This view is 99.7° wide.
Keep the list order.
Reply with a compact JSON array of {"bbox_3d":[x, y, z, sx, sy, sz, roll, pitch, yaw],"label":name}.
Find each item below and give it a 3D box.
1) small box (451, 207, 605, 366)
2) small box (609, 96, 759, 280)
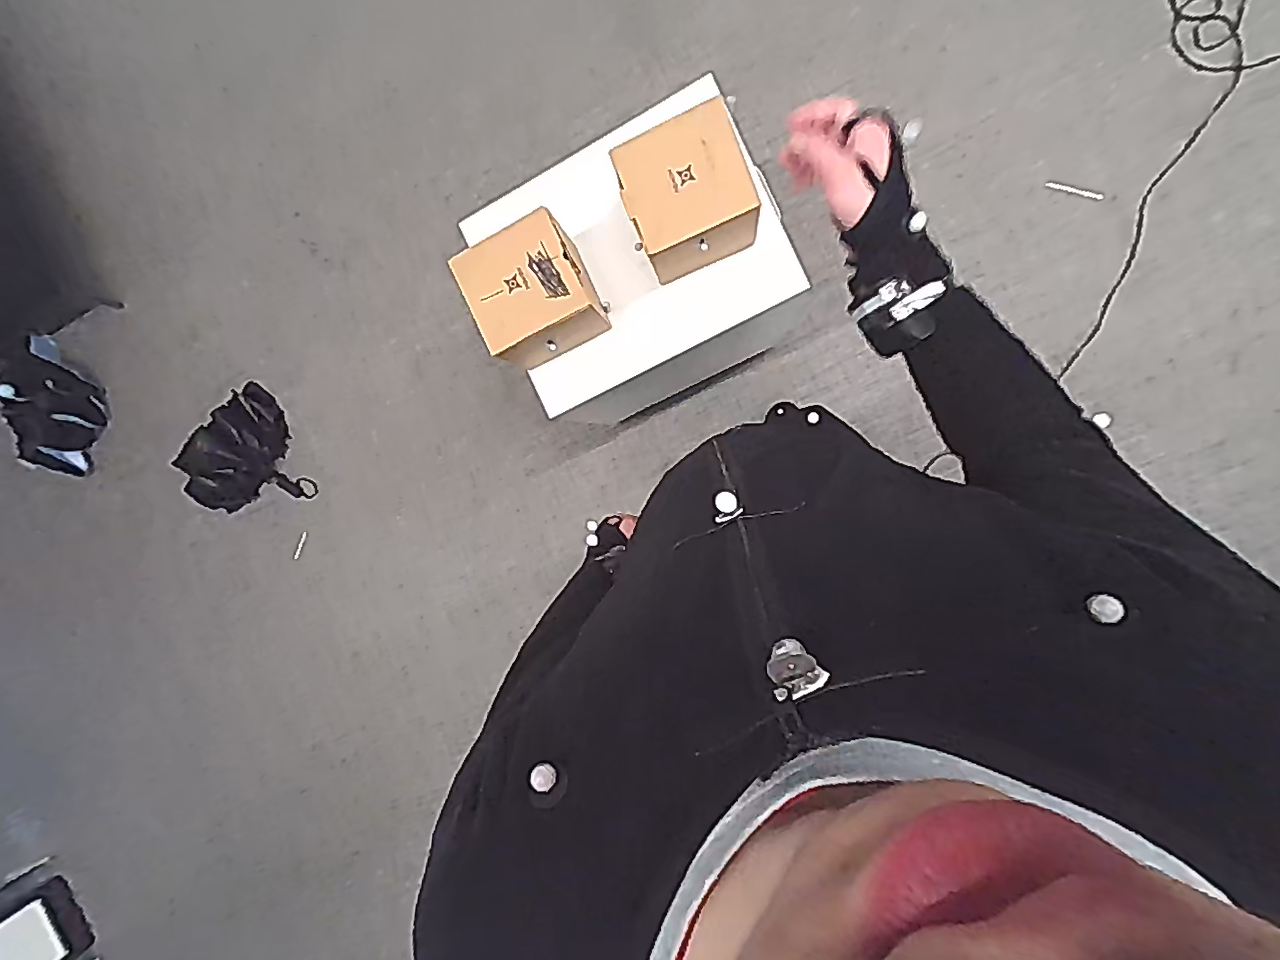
[{"bbox_3d":[-0.171,-0.306,0.895,0.179,0.176,0.168,-24,90,10],"label":"small box"},{"bbox_3d":[0.074,-0.439,0.849,0.179,0.176,0.168,-21,93,10],"label":"small box"}]
